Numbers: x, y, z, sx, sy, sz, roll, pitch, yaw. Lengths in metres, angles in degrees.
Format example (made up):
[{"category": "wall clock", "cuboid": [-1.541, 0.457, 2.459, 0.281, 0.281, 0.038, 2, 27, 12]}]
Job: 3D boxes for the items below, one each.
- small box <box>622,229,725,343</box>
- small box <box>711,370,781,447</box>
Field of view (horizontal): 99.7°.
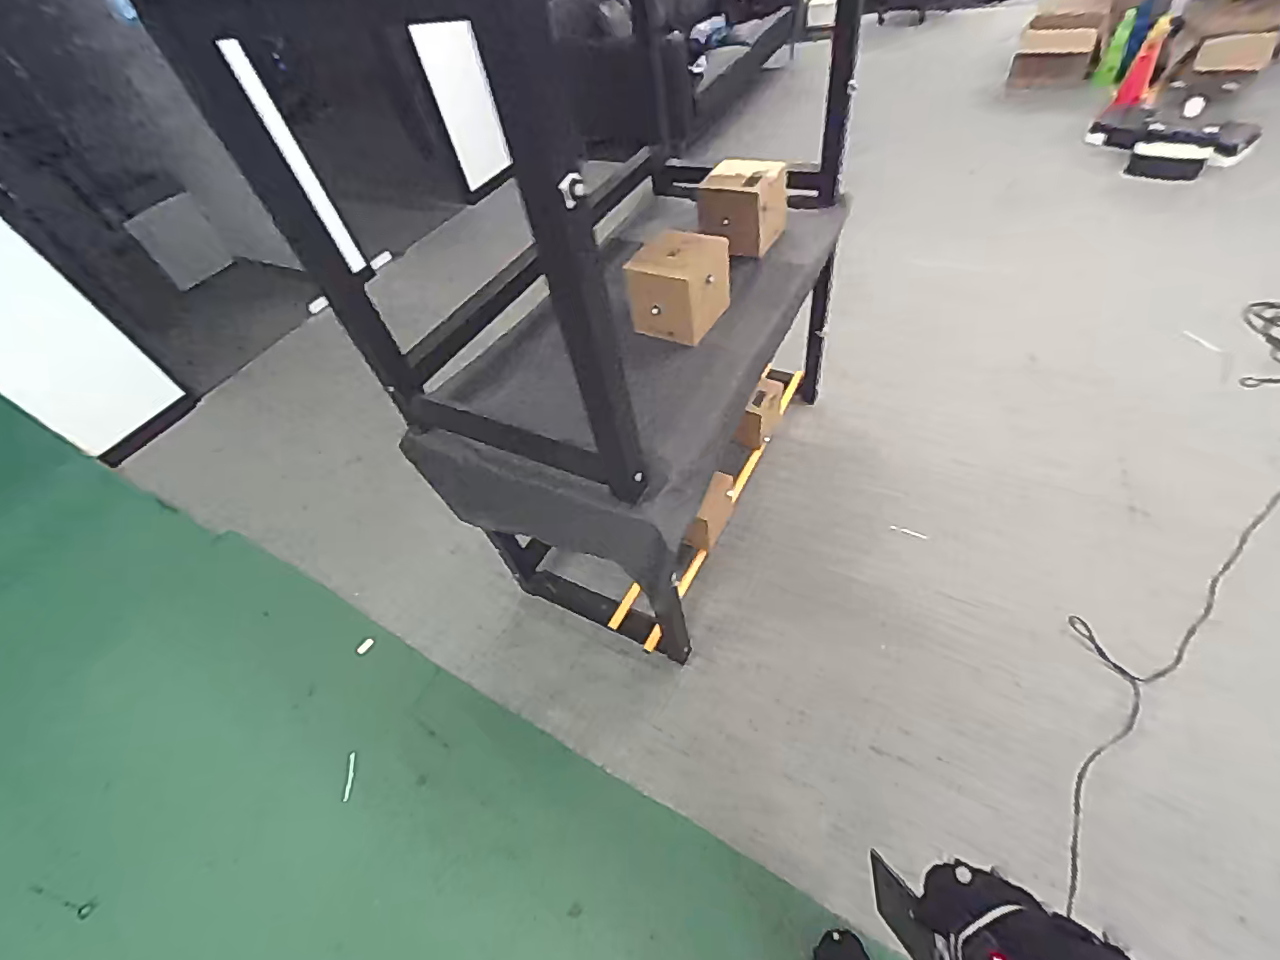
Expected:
[{"category": "small box", "cuboid": [0.085, -0.436, 1.220, 0.168, 0.176, 0.179, 22, 58, 26]}, {"category": "small box", "cuboid": [0.357, -0.236, 1.819, 0.179, 0.176, 0.168, 22, 58, 26]}]
